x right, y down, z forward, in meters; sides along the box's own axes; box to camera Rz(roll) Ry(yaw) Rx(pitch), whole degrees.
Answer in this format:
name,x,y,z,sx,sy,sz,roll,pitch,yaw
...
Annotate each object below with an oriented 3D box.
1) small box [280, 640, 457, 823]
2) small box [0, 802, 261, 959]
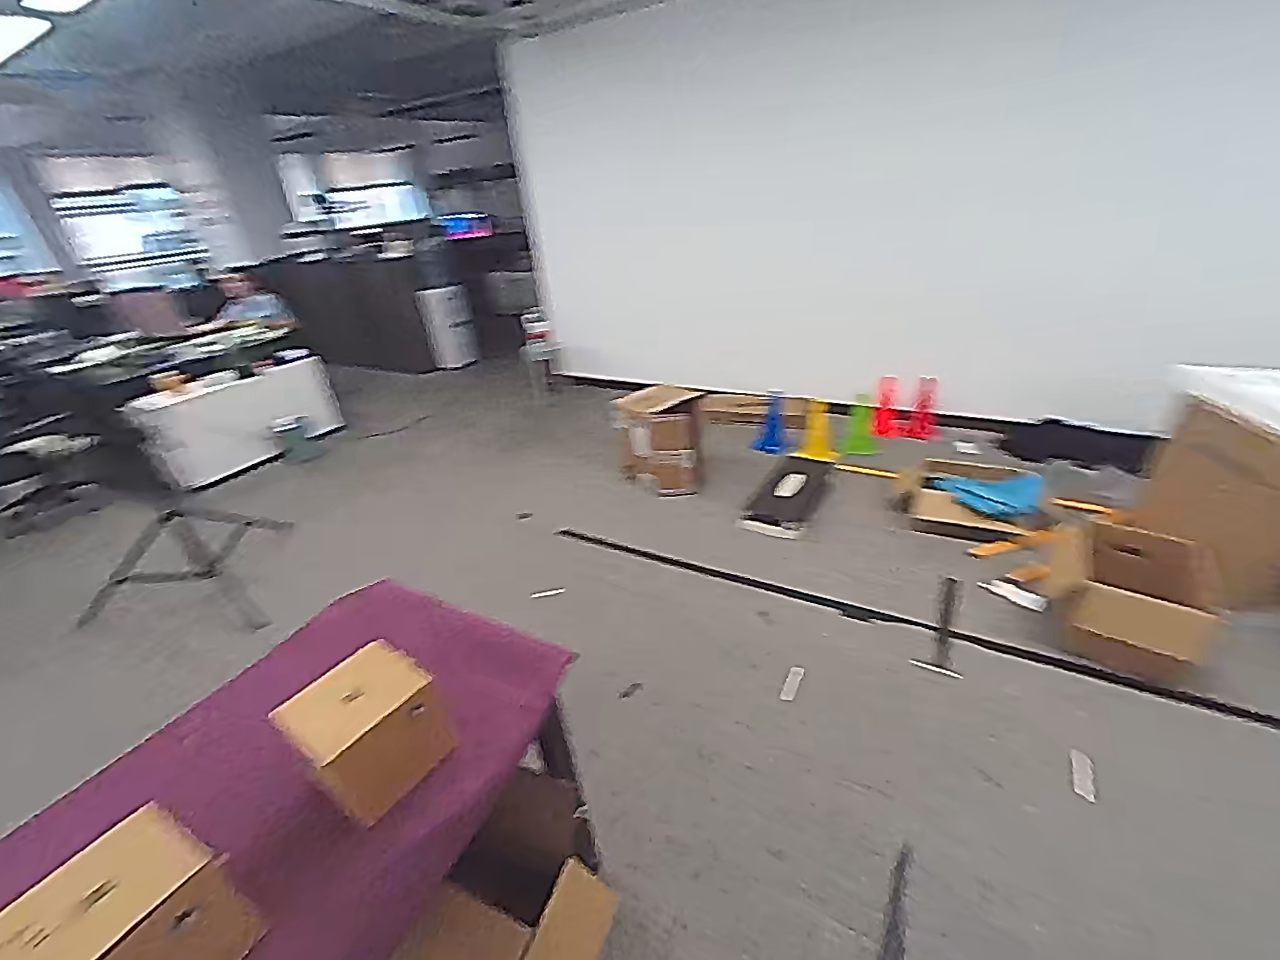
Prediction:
name,x,y,z,sx,sy,sz,roll,pitch,yaw
small box,-0.429,0.403,0.877,0.168,0.176,0.179,15,35,33
small box,-0.601,0.545,0.649,0.168,0.176,0.179,8,32,28
